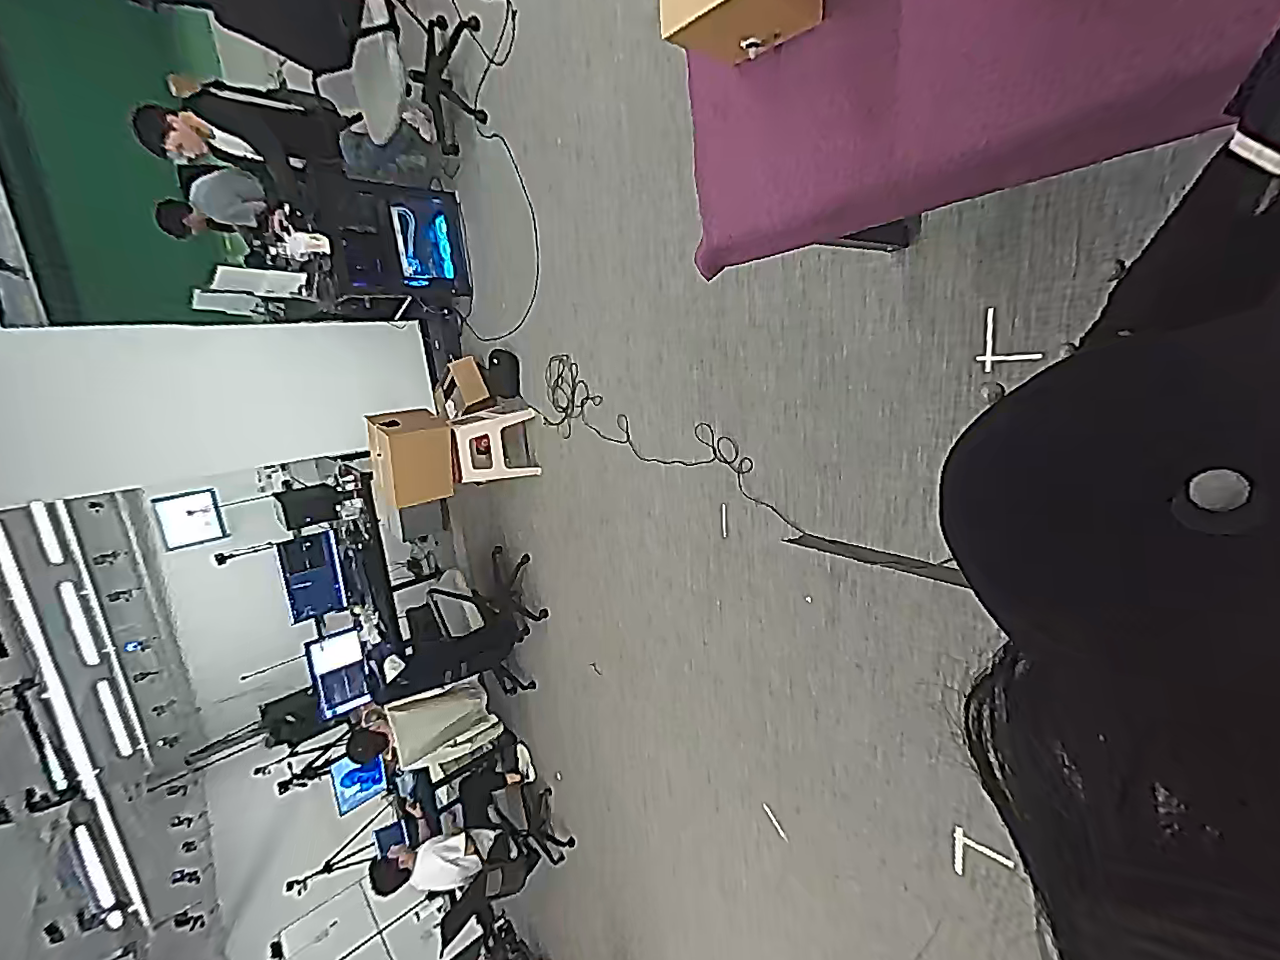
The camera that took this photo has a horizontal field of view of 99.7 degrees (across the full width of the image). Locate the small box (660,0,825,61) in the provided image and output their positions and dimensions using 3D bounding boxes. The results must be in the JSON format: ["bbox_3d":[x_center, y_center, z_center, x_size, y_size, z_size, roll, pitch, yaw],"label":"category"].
[{"bbox_3d":[0.142,-0.729,0.748,0.168,0.176,0.179,13,113,48],"label":"small box"}]
